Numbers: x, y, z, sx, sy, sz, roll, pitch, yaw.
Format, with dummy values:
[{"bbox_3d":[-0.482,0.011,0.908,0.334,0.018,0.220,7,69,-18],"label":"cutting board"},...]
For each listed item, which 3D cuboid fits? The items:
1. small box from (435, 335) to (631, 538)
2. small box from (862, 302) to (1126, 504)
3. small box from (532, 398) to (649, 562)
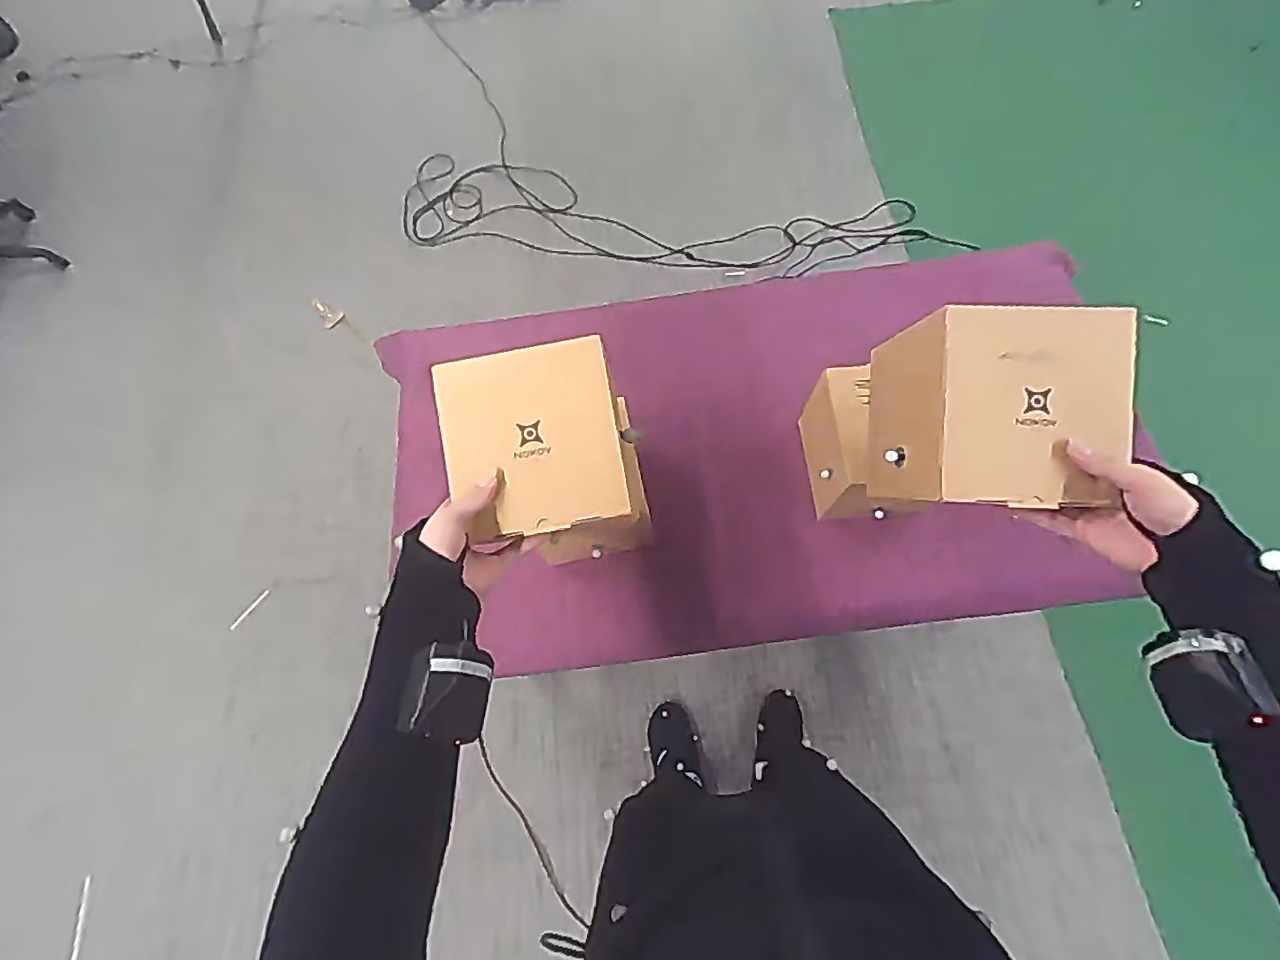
[{"bbox_3d":[-0.104,-0.034,0.592,0.168,0.176,0.179,-11,84,-1],"label":"small box"},{"bbox_3d":[0.341,-0.069,0.554,0.168,0.176,0.179,2,90,2],"label":"small box"},{"bbox_3d":[-0.084,0.007,0.798,0.168,0.176,0.179,-11,69,0],"label":"small box"}]
